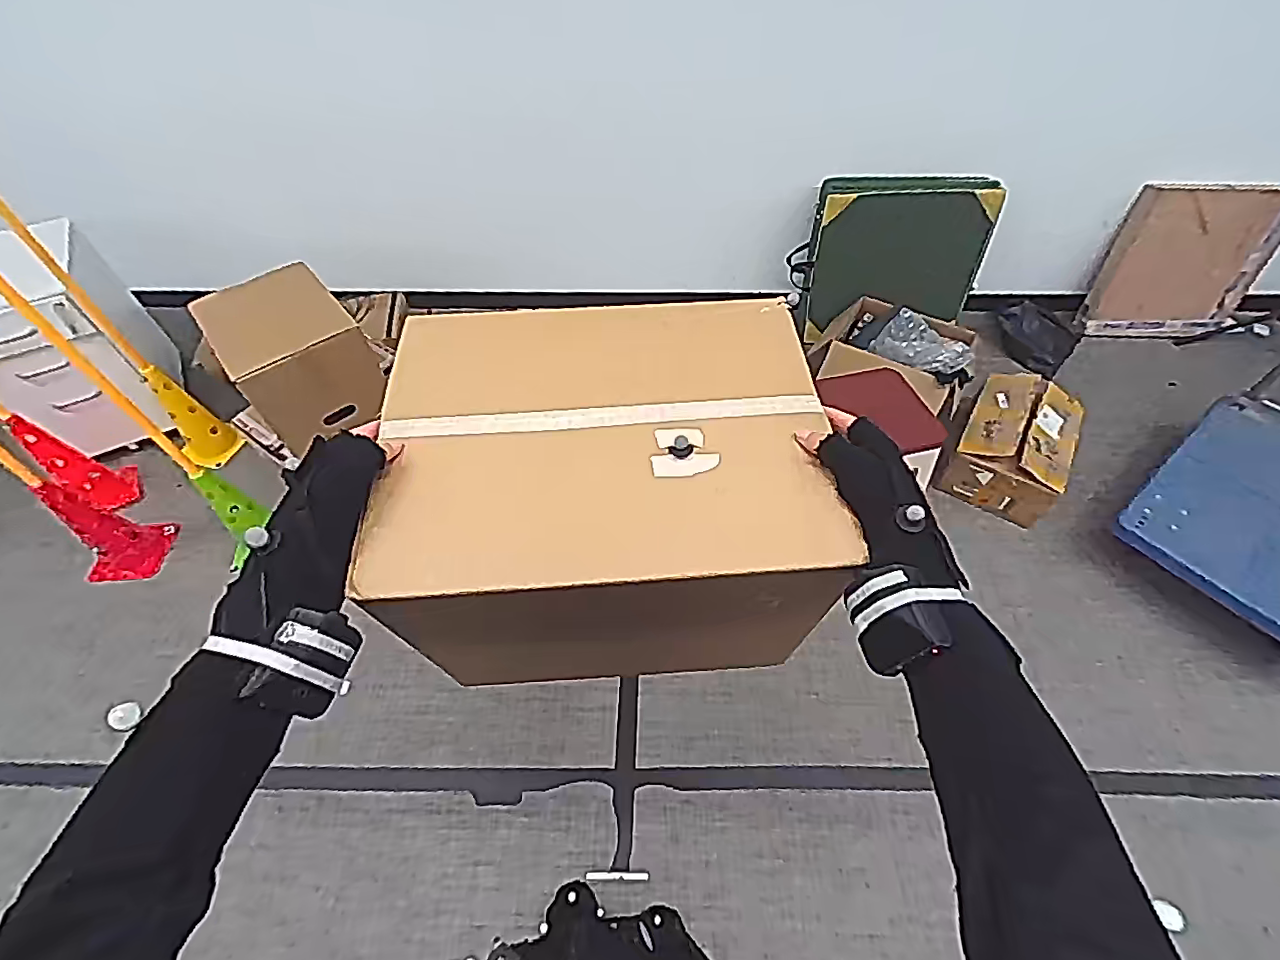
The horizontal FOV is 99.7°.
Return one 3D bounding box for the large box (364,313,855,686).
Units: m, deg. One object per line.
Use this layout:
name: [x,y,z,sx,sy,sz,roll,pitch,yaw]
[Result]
large box: [-0.033,0.035,0.634,0.408,0.320,0.320,-3,57,-2]
